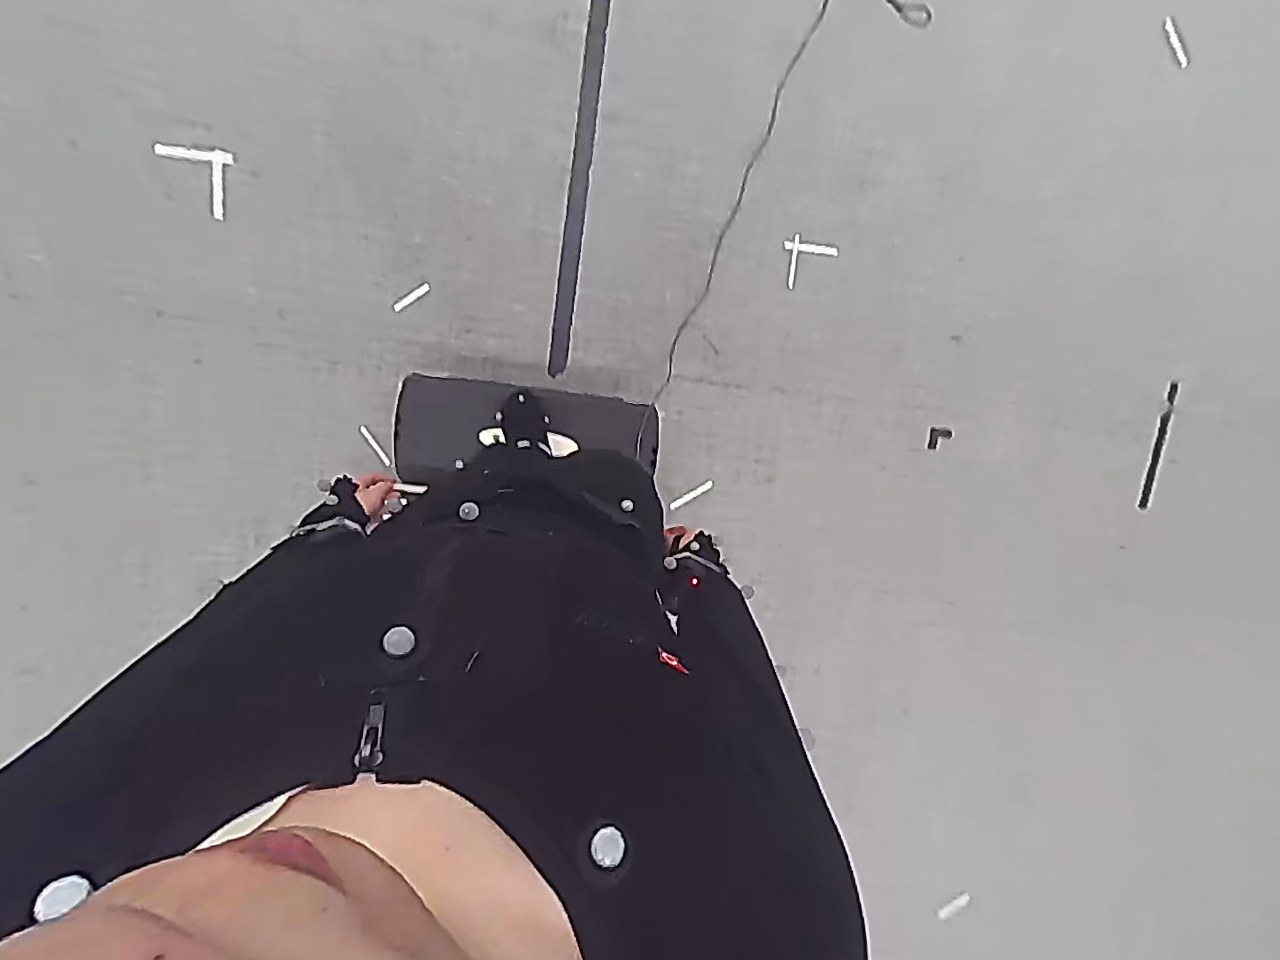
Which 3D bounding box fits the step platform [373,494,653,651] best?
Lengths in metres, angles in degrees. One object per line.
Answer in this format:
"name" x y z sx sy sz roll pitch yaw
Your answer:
"step platform" -0.309 0.235 1.398 0.684 0.204 0.286 11 94 -5
